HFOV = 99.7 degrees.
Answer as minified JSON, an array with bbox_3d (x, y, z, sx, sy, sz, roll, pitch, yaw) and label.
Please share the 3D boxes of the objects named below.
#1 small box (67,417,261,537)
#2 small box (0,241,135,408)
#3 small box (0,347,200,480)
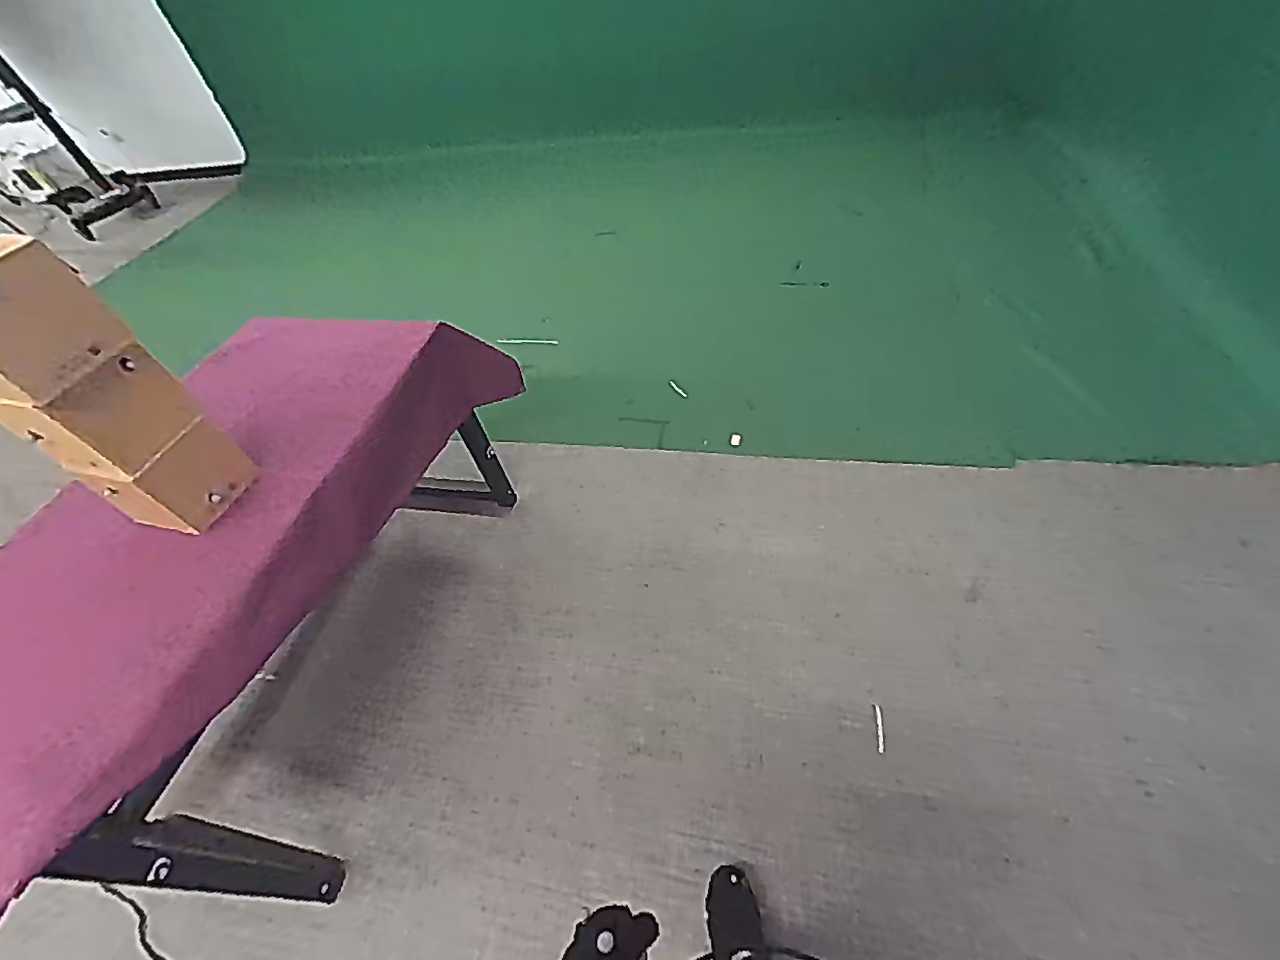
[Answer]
[{"bbox_3d":[-0.884,-0.010,1.023,0.179,0.176,0.168,8,53,16],"label":"small box"},{"bbox_3d":[-0.907,-0.220,0.773,0.179,0.176,0.168,8,53,18],"label":"small box"},{"bbox_3d":[-0.906,-0.118,0.904,0.168,0.176,0.179,7,52,16],"label":"small box"}]
